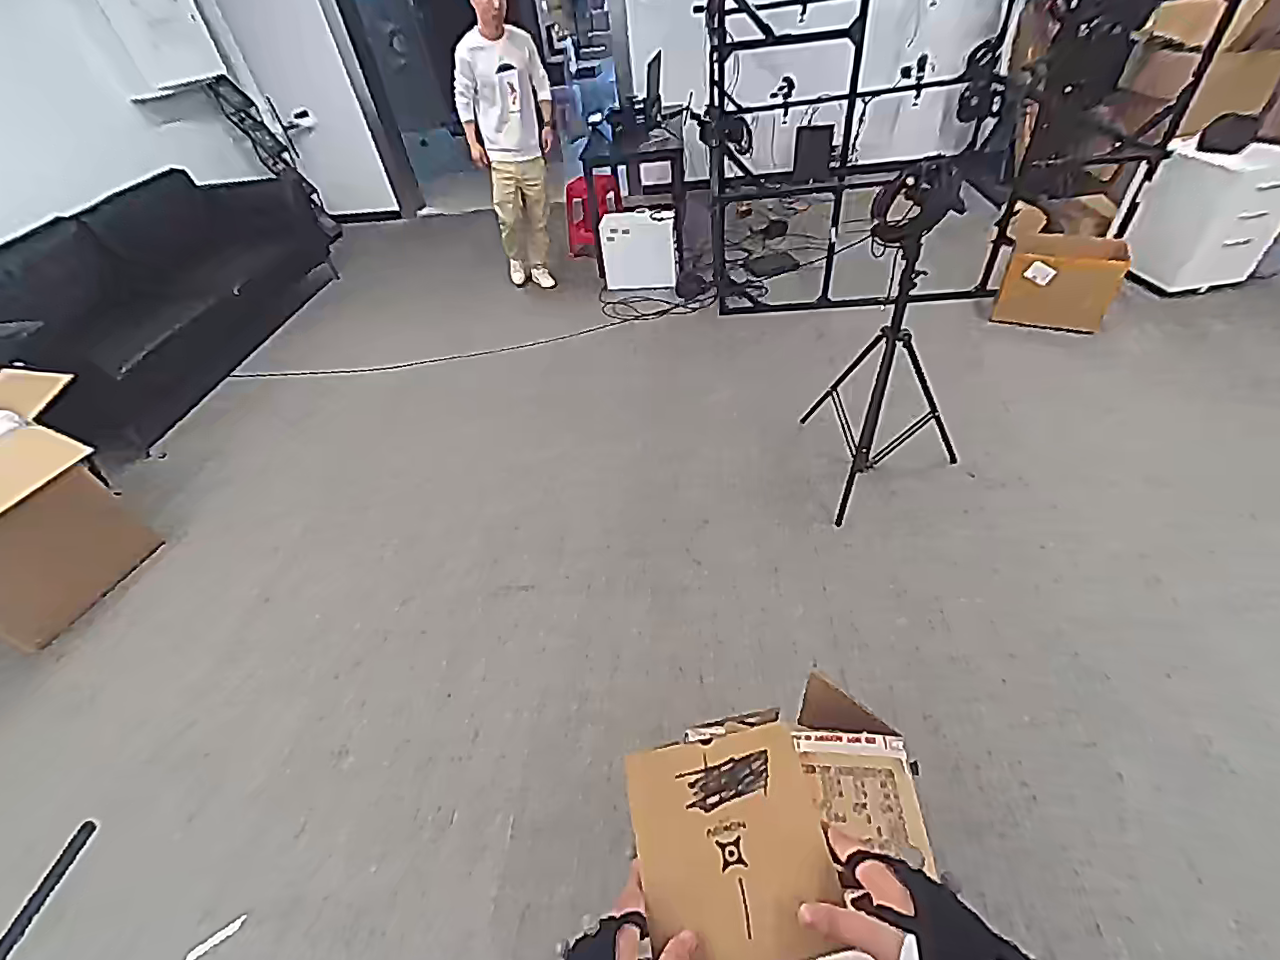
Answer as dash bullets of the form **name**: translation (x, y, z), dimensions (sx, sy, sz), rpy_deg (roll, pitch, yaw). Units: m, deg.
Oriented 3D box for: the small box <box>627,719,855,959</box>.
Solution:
- **small box**: translation (0.083, 0.366, 0.540), dimensions (0.168, 0.176, 0.179), rpy_deg (-10, 51, -4)
